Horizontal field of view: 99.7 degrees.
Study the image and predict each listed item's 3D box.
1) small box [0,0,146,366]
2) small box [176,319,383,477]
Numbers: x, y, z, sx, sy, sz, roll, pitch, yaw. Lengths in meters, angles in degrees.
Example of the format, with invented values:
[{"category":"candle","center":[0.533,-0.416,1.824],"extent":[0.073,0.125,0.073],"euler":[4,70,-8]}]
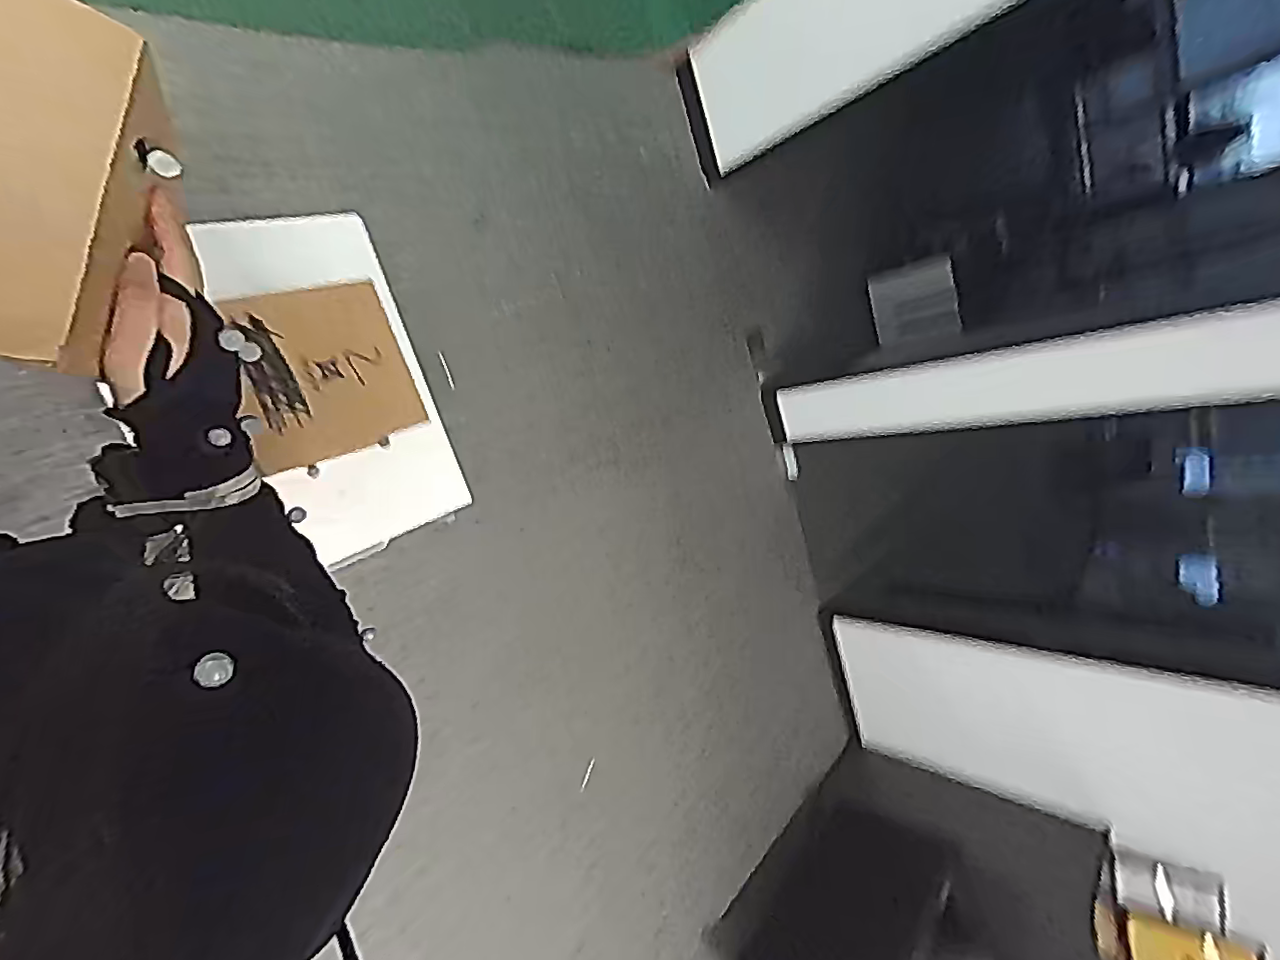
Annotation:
[{"category":"small box","center":[-0.379,-0.168,0.271],"extent":[0.168,0.176,0.179],"euler":[13,88,-37]},{"category":"small box","center":[-0.484,-0.108,0.727],"extent":[0.179,0.176,0.168],"euler":[-25,106,-40]}]
